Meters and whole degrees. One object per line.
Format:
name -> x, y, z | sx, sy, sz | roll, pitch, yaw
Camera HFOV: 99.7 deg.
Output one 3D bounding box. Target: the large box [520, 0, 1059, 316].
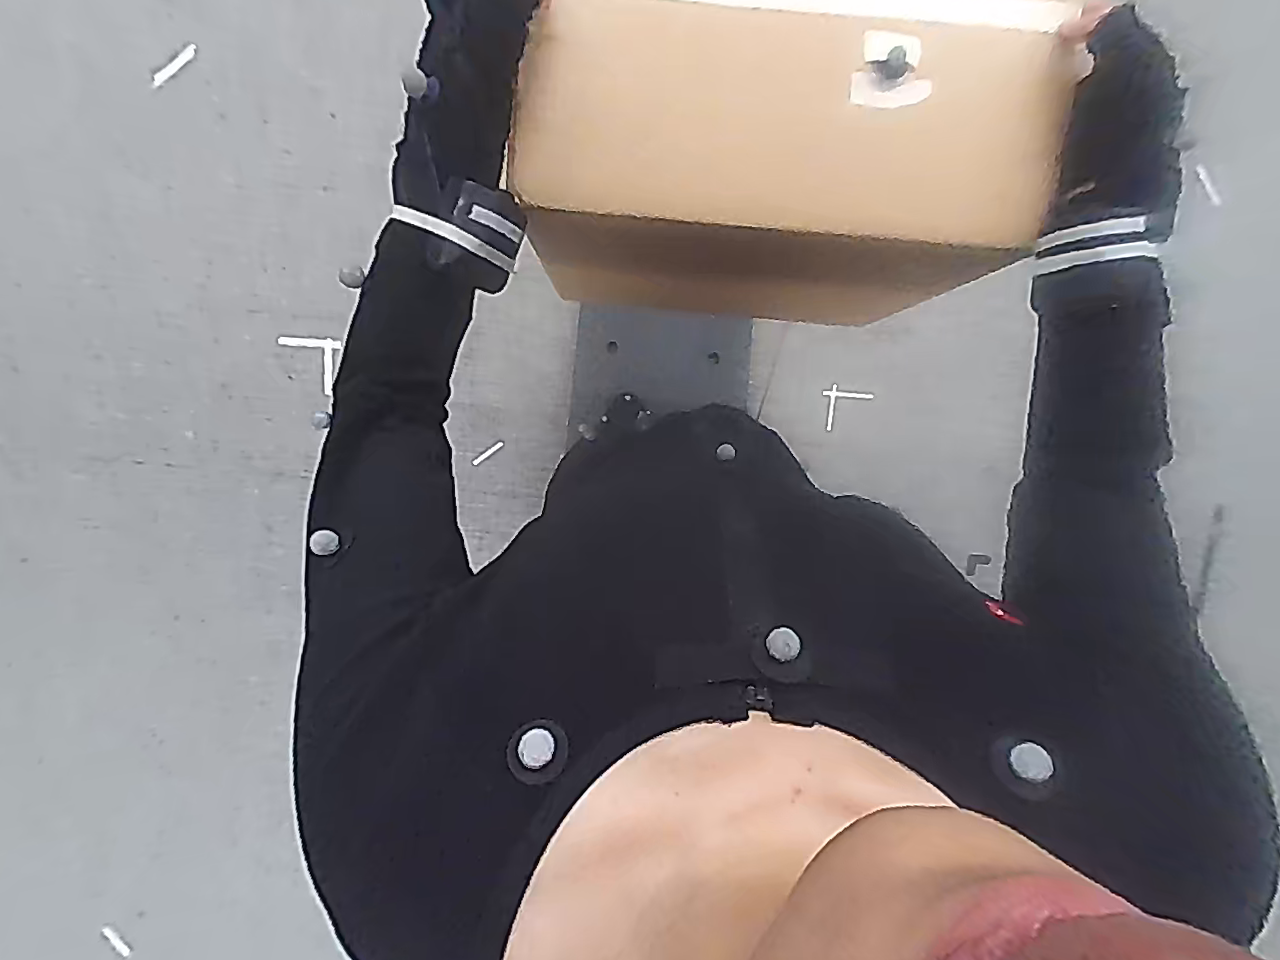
large box -> 0.109, -0.364, 0.550 | 0.408, 0.320, 0.320 | 4, 96, -2
